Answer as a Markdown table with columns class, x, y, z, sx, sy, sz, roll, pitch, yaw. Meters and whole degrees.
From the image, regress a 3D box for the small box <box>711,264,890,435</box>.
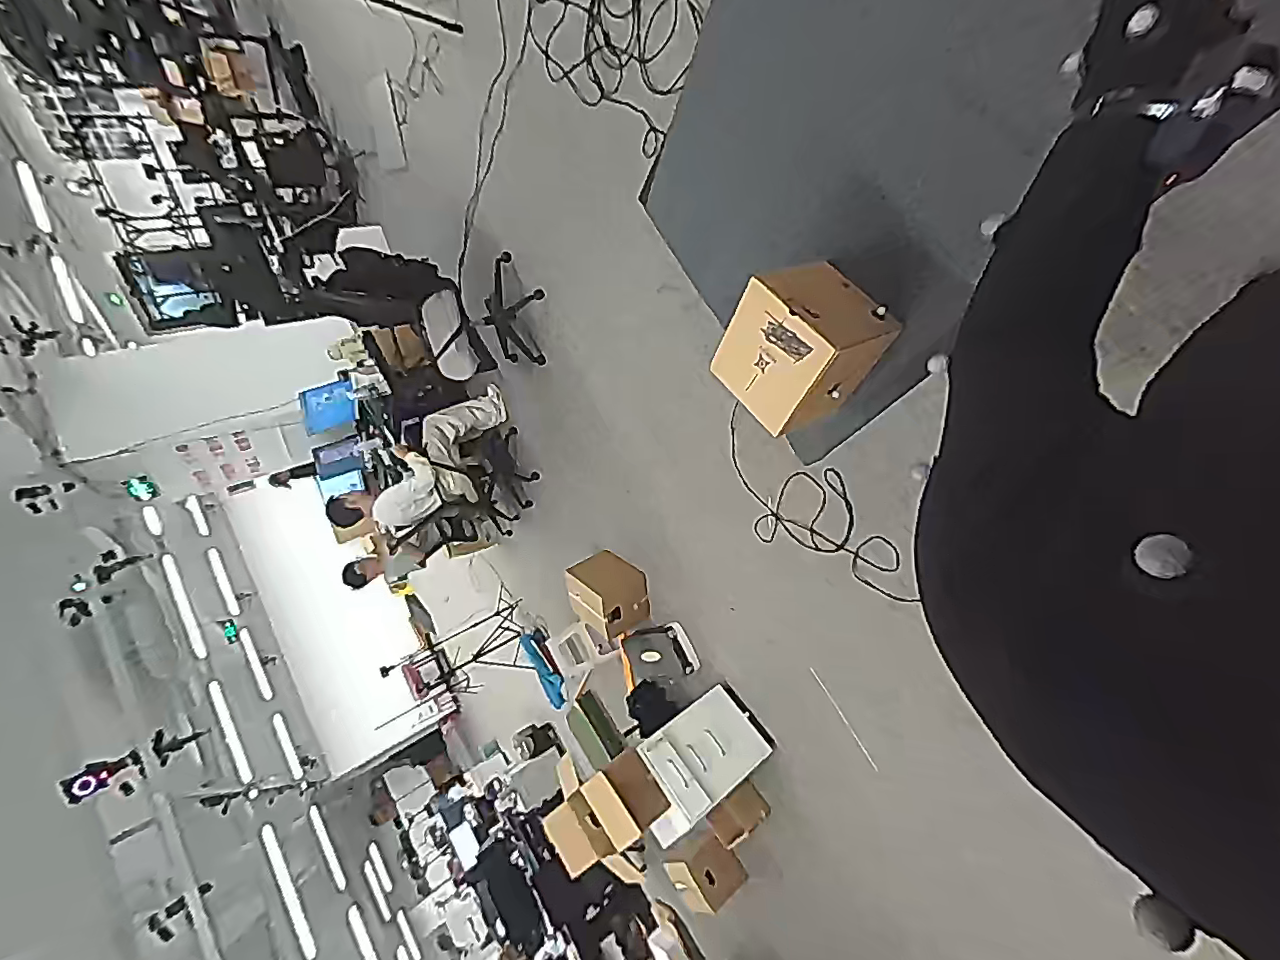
| class | x | y | z | sx | sy | sz | roll | pitch | yaw |
| --- | --- | --- | --- | --- | --- | --- | --- | --- | --- |
| small box | 0.246 | -0.203 | 0.823 | 0.168 | 0.176 | 0.179 | 52 | 145 | 21 |
